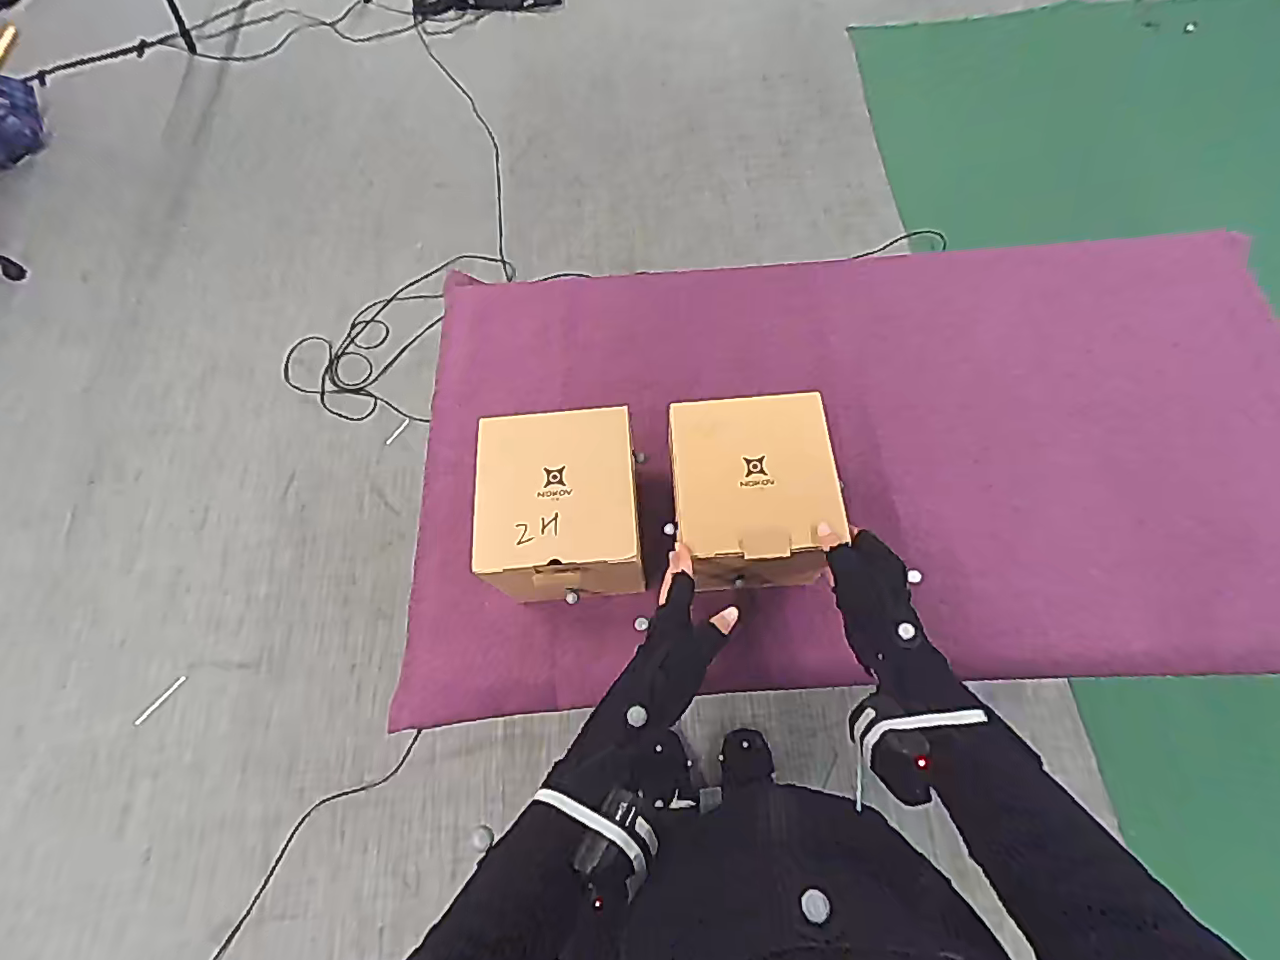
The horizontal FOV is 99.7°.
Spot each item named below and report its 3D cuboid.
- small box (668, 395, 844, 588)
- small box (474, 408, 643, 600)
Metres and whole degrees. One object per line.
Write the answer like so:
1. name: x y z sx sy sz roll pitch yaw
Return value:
1. small box: 0.119 0.021 0.637 0.168 0.176 0.179 -4 68 2
2. small box: -0.086 0.035 0.641 0.168 0.176 0.179 -5 68 1
